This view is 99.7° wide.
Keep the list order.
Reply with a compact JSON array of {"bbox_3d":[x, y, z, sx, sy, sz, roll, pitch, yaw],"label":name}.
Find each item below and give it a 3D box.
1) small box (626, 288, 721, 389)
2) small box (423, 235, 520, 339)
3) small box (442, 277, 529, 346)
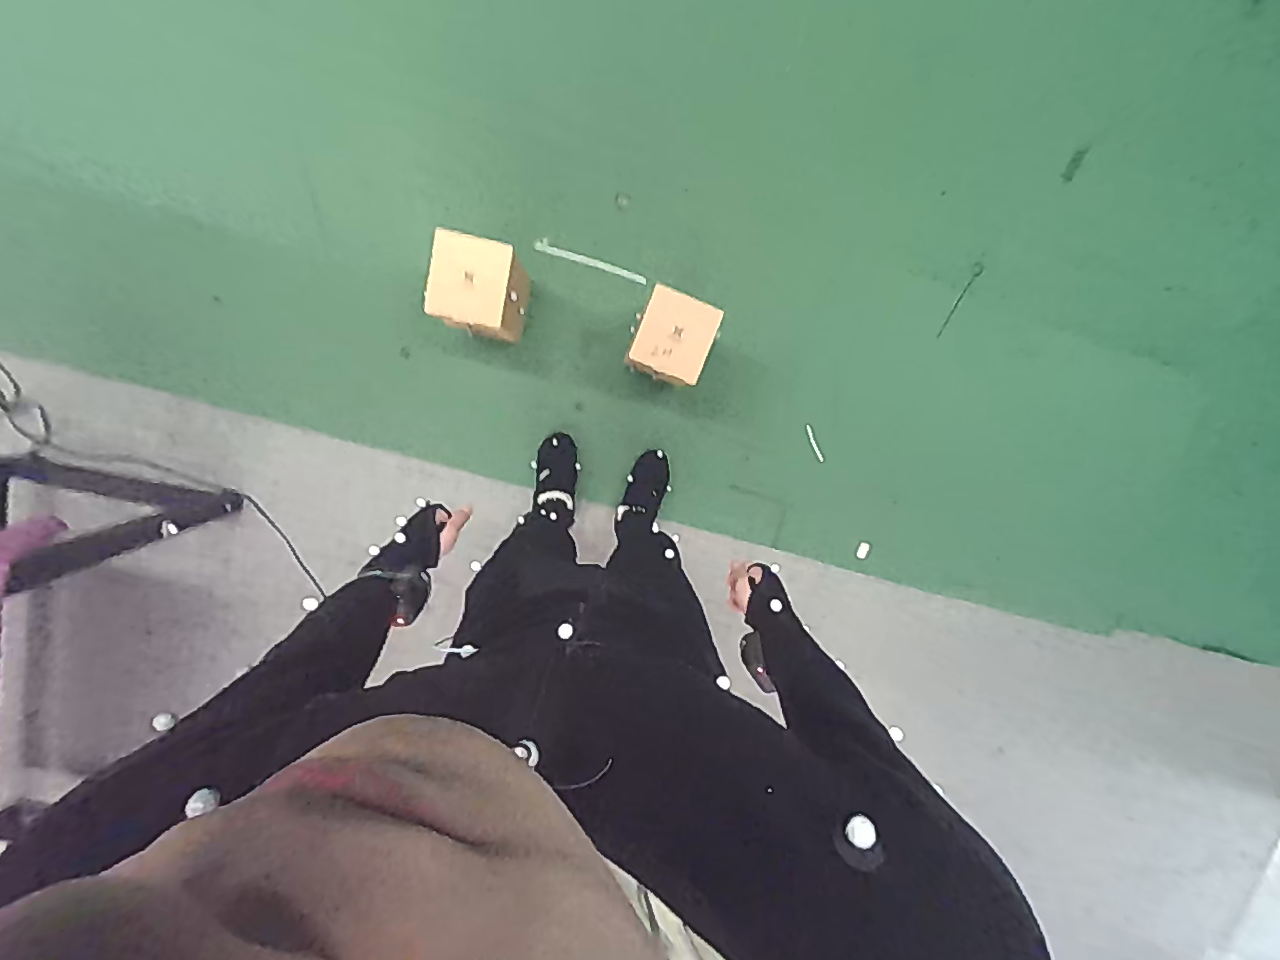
[{"bbox_3d":[0.069,-0.328,1.282,0.168,0.176,0.179,21,98,-7],"label":"small box"},{"bbox_3d":[-0.377,-0.432,1.237,0.168,0.176,0.179,11,99,-6],"label":"small box"},{"bbox_3d":[-0.392,-0.453,1.398,0.168,0.176,0.179,12,98,-6],"label":"small box"}]
